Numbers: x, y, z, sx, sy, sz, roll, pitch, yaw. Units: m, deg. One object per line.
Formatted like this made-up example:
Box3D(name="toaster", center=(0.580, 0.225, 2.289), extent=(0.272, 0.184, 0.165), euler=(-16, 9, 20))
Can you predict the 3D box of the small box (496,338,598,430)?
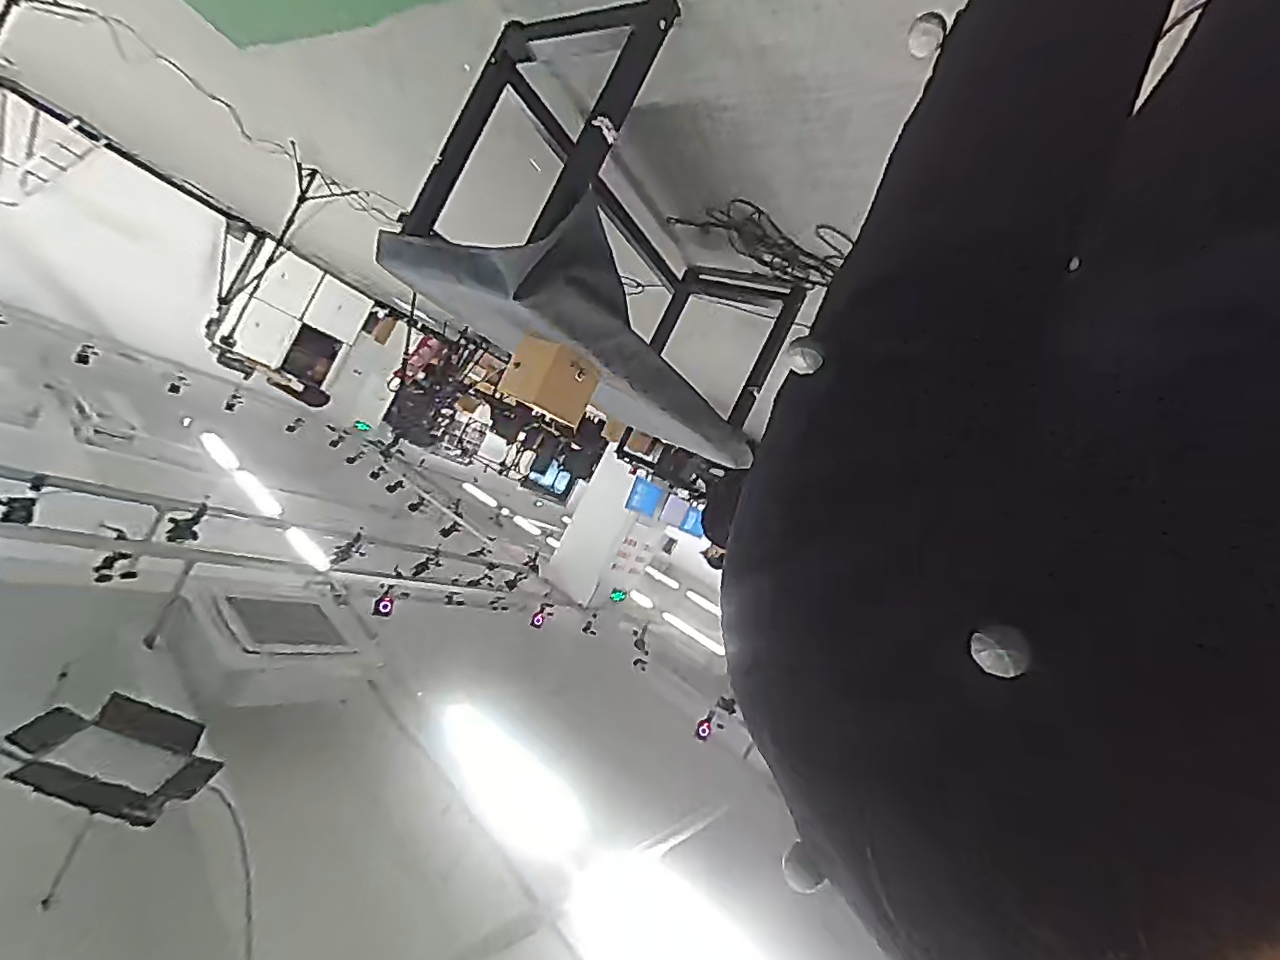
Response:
Box3D(name="small box", center=(-0.242, -0.257, 1.428), extent=(0.179, 0.176, 0.168), euler=(25, 179, 41))
